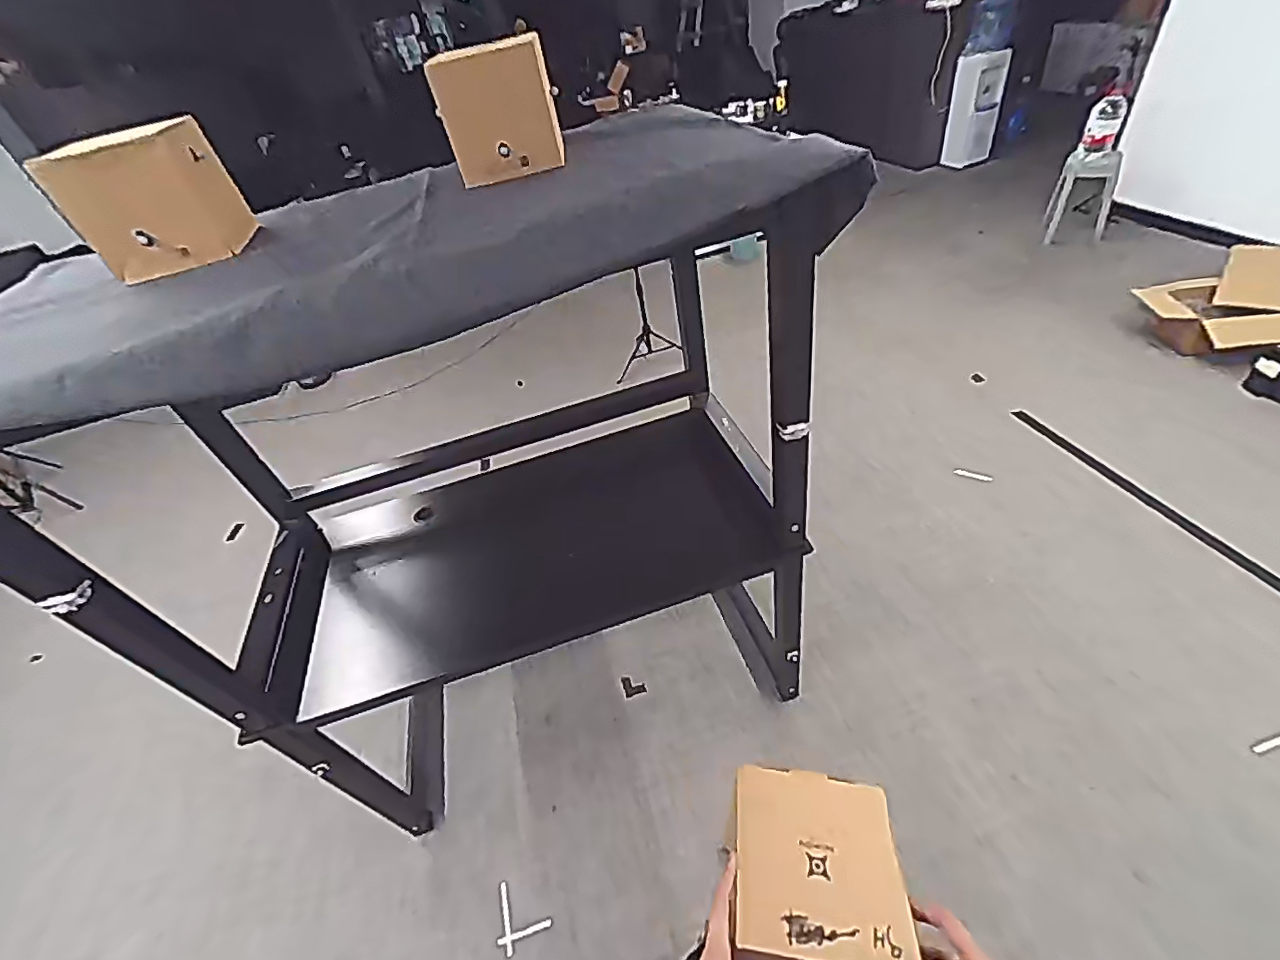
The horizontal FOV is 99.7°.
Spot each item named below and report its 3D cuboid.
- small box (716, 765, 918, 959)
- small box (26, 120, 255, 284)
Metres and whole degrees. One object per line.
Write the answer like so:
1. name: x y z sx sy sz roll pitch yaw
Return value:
1. small box: 0.174 0.452 0.587 0.168 0.176 0.179 6 31 7
2. small box: -0.728 -0.421 0.820 0.168 0.176 0.179 -19 43 -6
